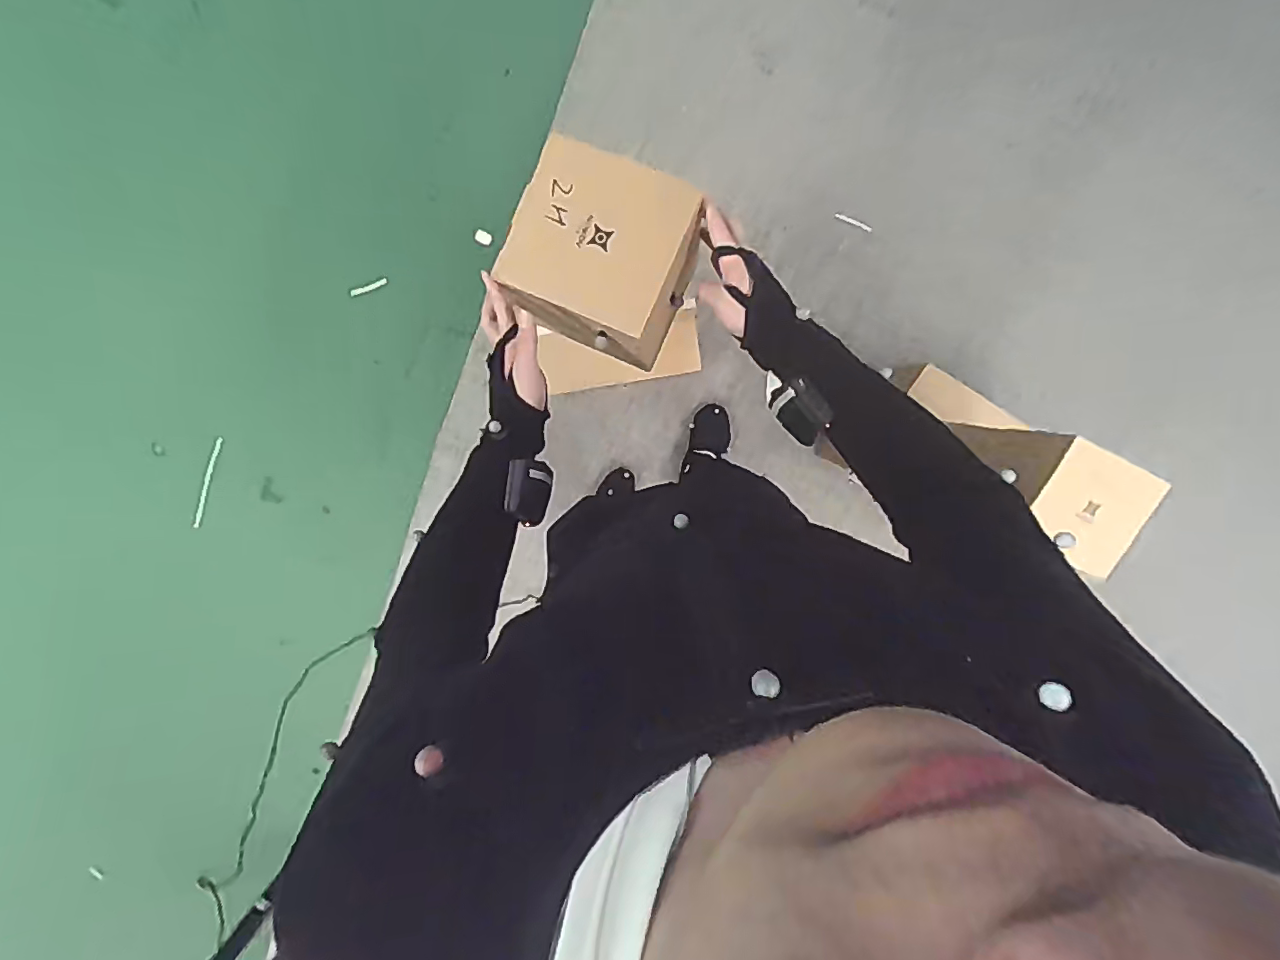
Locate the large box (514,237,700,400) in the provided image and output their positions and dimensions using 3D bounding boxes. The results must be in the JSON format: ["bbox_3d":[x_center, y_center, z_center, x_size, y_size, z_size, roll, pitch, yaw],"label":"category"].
[{"bbox_3d":[-0.069,-0.403,1.426,0.408,0.320,0.320,-9,98,5],"label":"large box"}]

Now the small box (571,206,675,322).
[{"bbox_3d":[-0.025,-0.393,1.009,0.179,0.176,0.168,-3,99,2],"label":"small box"}]

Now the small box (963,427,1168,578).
[{"bbox_3d":[0.674,0.027,0.888,0.168,0.176,0.179,27,99,-3],"label":"small box"}]
